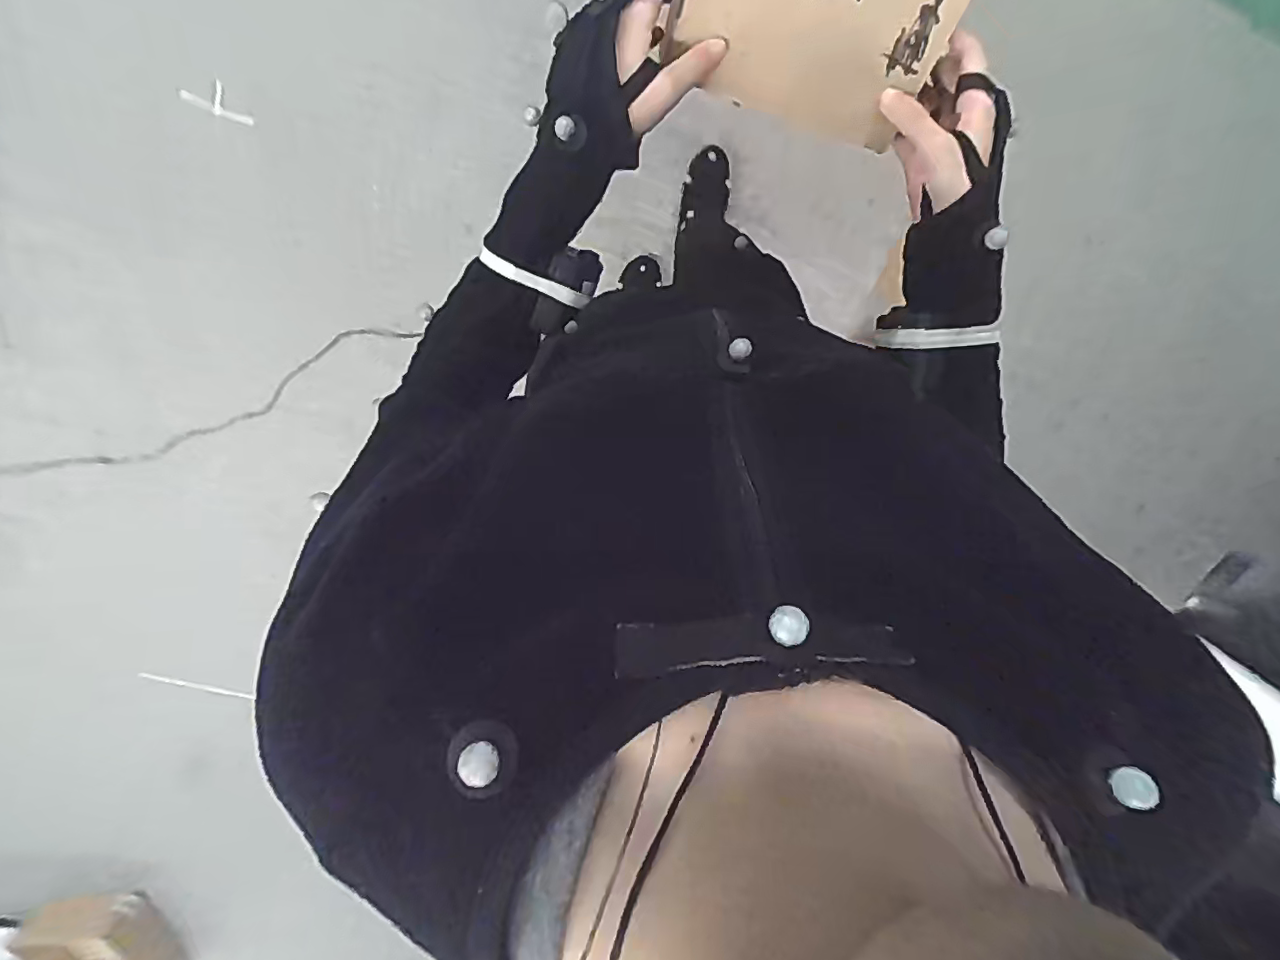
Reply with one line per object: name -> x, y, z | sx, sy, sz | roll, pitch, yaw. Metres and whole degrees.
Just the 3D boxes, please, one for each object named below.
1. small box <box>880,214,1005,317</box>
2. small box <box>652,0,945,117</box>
small box -> 0.709, -0.515, 1.295 | 0.168, 0.176, 0.179 | 18, 113, -12
small box -> 0.113, -0.385, 0.366 | 0.179, 0.176, 0.168 | 11, 137, -12
